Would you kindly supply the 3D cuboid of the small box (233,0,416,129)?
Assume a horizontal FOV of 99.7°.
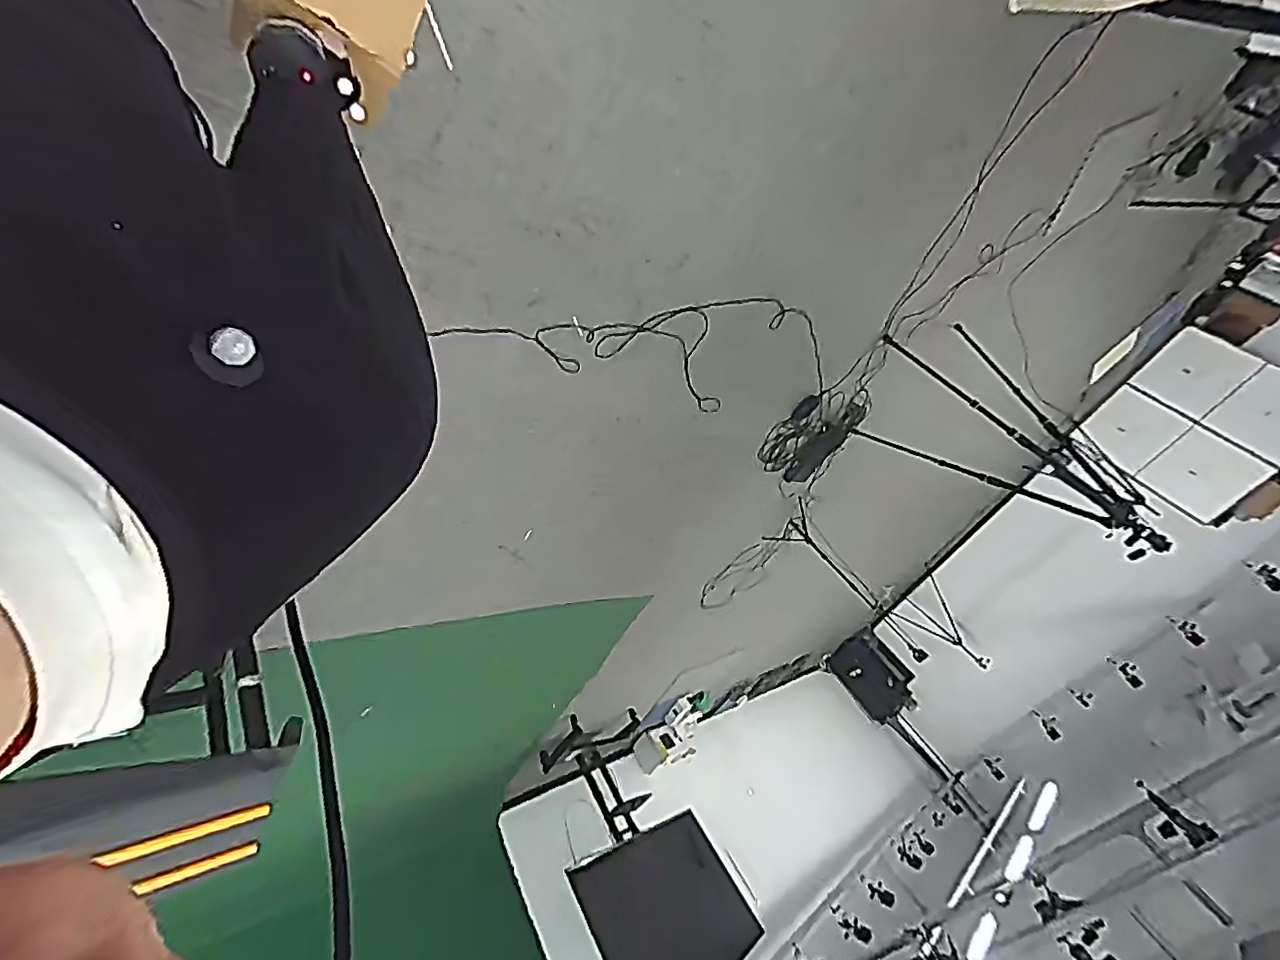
[{"bbox_3d":[-0.385,-0.588,0.671,0.168,0.176,0.179,14,86,-37],"label":"small box"}]
